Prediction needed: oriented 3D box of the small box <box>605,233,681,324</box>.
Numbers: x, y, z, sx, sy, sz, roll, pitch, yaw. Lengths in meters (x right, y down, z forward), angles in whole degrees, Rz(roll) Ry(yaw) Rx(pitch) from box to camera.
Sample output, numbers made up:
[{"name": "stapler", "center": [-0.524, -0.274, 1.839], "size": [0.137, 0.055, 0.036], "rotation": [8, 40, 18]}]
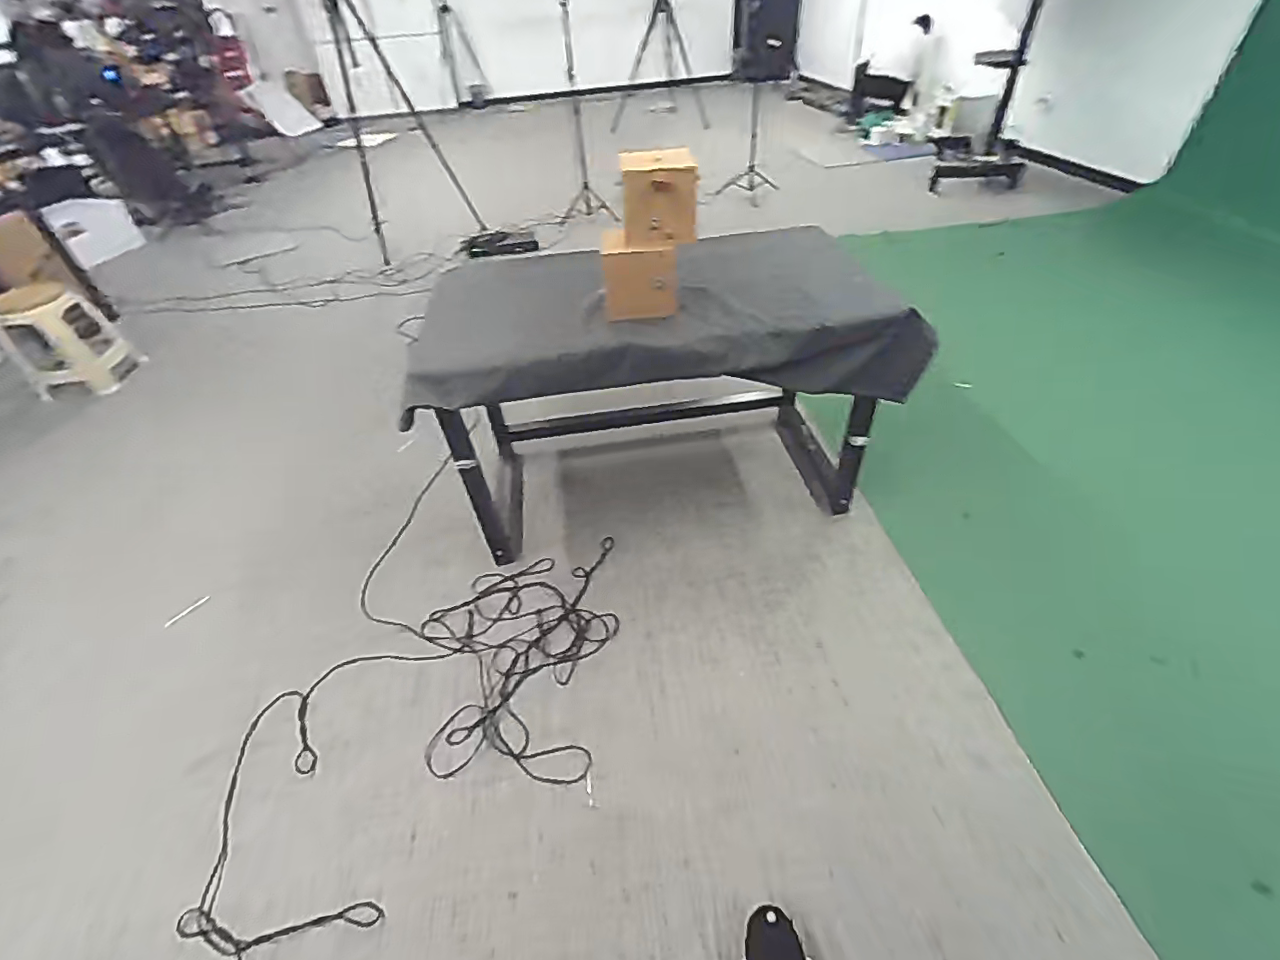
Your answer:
[{"name": "small box", "center": [0.011, -0.507, 1.355], "size": [0.179, 0.176, 0.168], "rotation": [-4, 41, 2]}]

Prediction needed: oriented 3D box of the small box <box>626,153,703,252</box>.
[{"name": "small box", "center": [0.053, -0.649, 1.267], "size": [0.168, 0.176, 0.179], "rotation": [-4, 42, 1]}]
